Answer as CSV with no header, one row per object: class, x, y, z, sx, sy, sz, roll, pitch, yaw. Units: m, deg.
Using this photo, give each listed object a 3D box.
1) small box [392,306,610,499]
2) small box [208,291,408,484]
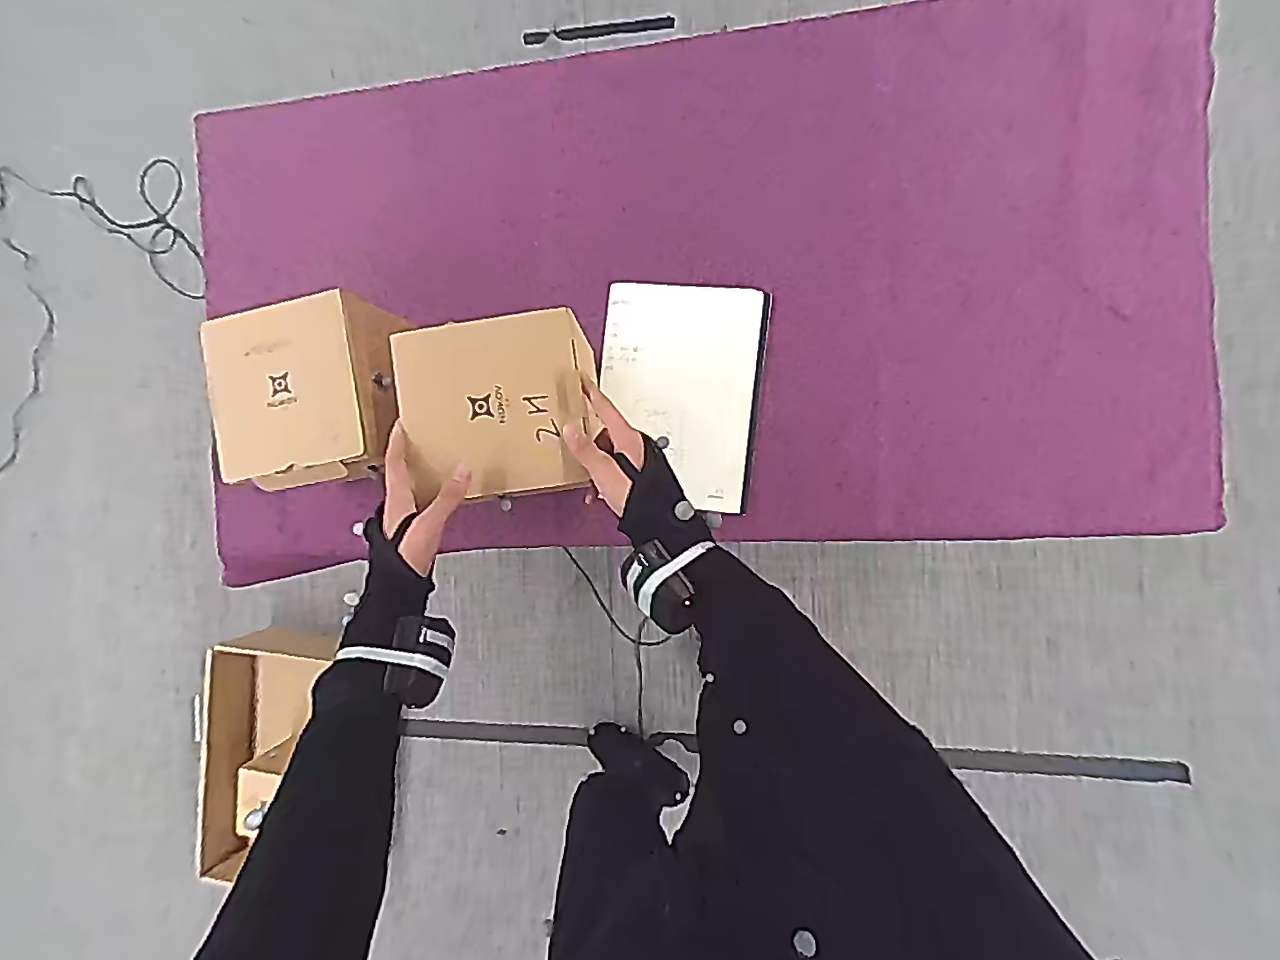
small box,-0.135,-0.069,0.584,0.179,0.176,0.168,-8,89,3
small box,-0.350,-0.095,0.635,0.168,0.176,0.179,-10,89,8
